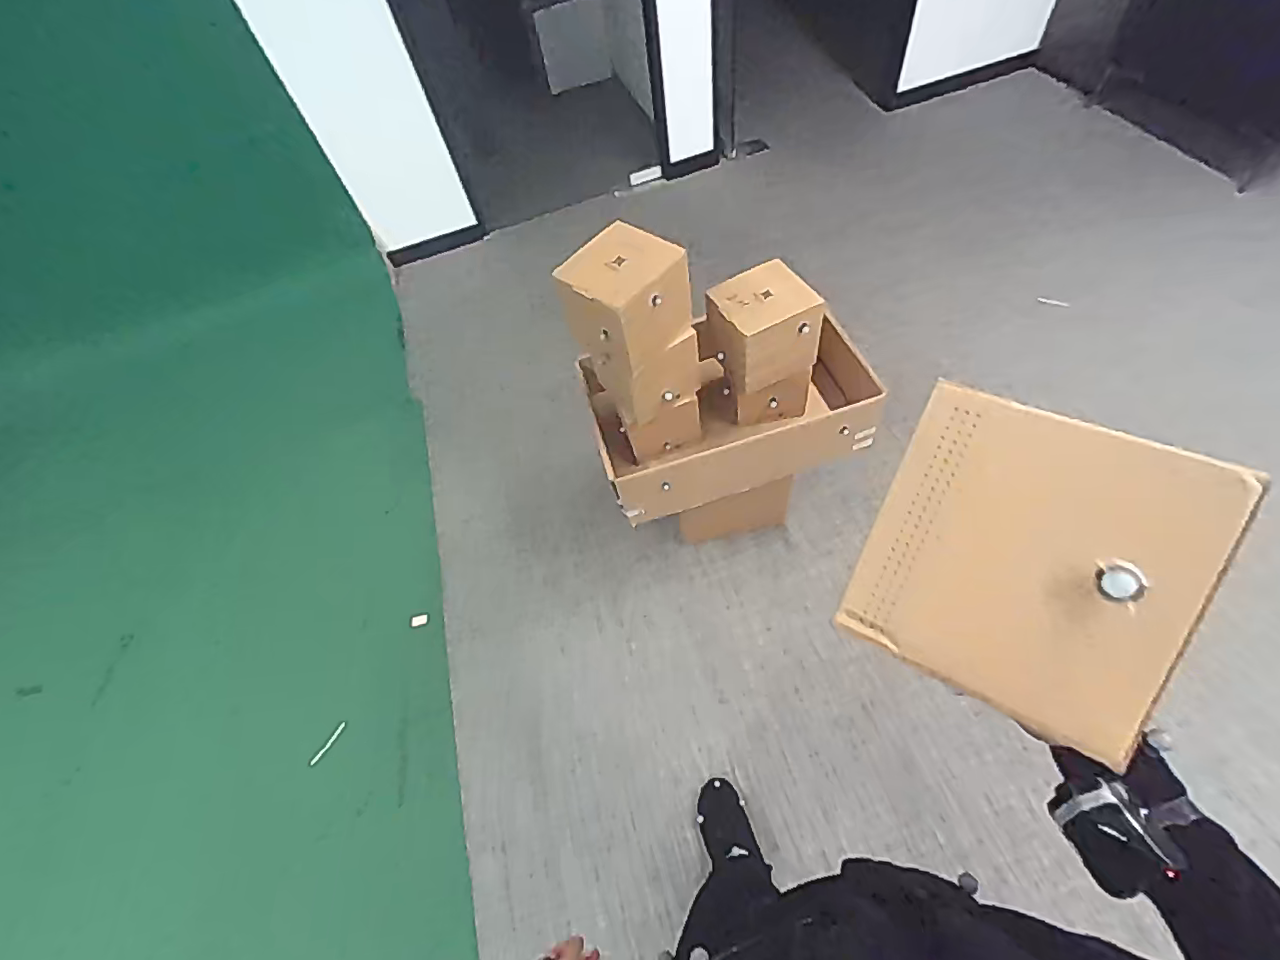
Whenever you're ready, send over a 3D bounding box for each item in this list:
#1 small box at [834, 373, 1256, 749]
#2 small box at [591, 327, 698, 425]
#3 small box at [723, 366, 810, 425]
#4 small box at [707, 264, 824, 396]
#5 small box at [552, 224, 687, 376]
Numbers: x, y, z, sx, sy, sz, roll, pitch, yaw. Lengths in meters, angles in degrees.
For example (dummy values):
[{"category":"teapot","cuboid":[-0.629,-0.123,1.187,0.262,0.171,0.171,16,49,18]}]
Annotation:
[{"category":"small box","cuboid":[0.251,0.045,0.389,0.176,0.168,0.179,24,96,26]},{"category":"small box","cuboid":[0.006,-0.249,1.129,0.168,0.176,0.179,-32,59,-11]},{"category":"small box","cuboid":[0.290,-0.245,1.276,0.168,0.176,0.179,-9,57,3]},{"category":"small box","cuboid":[0.253,-0.309,1.126,0.179,0.176,0.168,-25,56,-6]},{"category":"small box","cuboid":[-0.026,-0.323,0.986,0.168,0.176,0.179,36,70,26]}]
